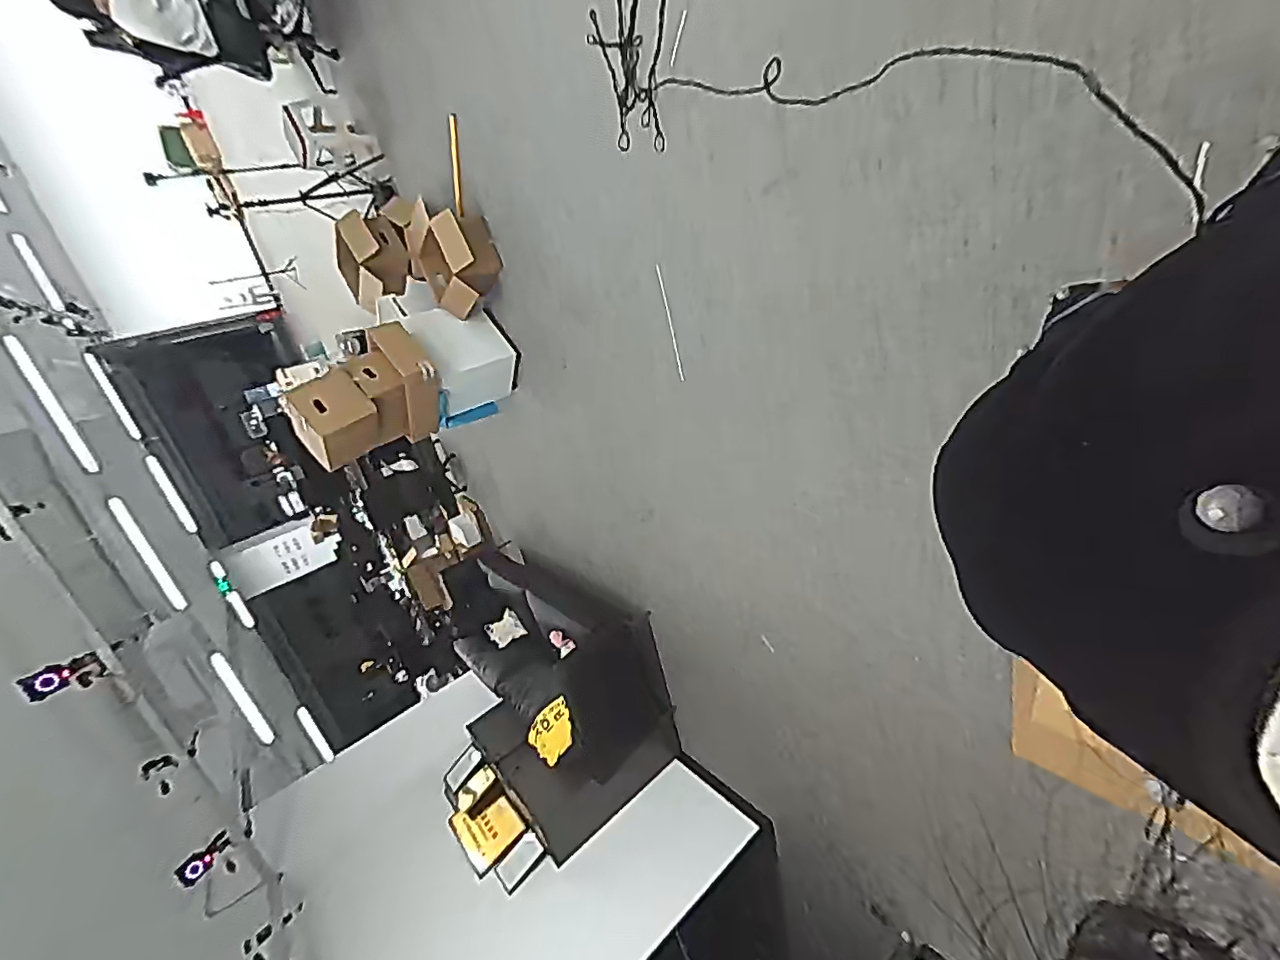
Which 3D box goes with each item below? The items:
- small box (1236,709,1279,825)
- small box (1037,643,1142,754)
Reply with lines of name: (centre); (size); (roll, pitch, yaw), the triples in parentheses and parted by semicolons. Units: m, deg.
small box: (1.412, 0.626, 1.138); (0.168, 0.176, 0.179); (21, 130, 48)
small box: (1.183, 0.564, 1.423); (0.168, 0.176, 0.179); (20, 129, 49)
